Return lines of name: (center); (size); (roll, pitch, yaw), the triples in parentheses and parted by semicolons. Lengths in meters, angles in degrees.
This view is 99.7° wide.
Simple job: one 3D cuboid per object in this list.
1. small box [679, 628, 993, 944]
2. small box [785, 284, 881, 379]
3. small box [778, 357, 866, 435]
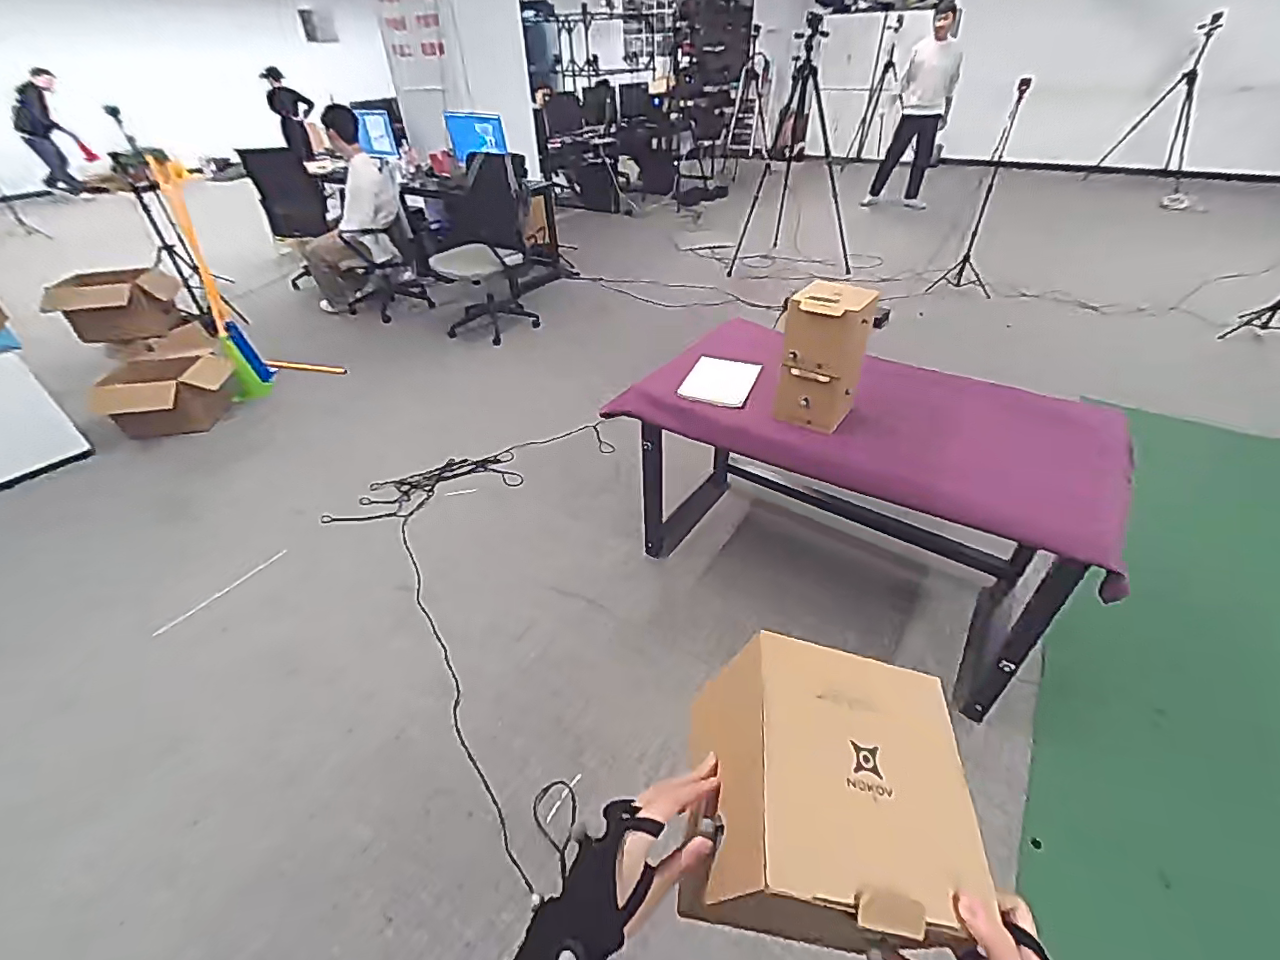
small box: (0.139, 0.258, 0.451); (0.168, 0.176, 0.179); (18, 44, -5)
small box: (0.477, -0.372, 1.355); (0.168, 0.176, 0.179); (24, 44, 29)
small box: (0.485, -0.245, 1.461); (0.168, 0.176, 0.179); (24, 46, 28)
